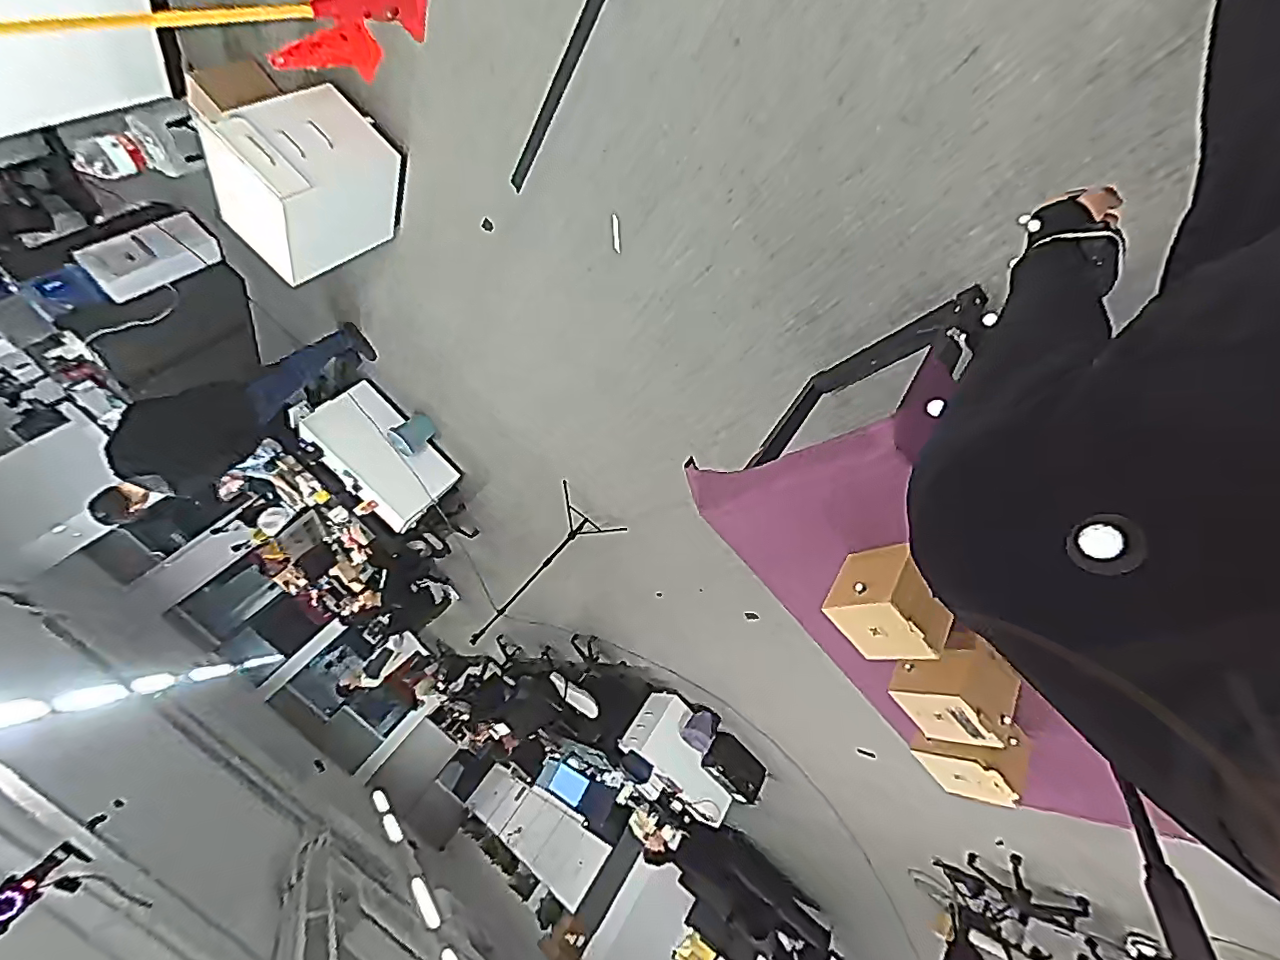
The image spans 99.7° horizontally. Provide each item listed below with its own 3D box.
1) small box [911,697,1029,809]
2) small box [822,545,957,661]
[{"bbox_3d":[0.807,0.655,1.319,0.168,0.176,0.179,47,147,-10],"label":"small box"},{"bbox_3d":[0.532,0.262,1.148,0.168,0.176,0.179,47,147,-8],"label":"small box"}]
